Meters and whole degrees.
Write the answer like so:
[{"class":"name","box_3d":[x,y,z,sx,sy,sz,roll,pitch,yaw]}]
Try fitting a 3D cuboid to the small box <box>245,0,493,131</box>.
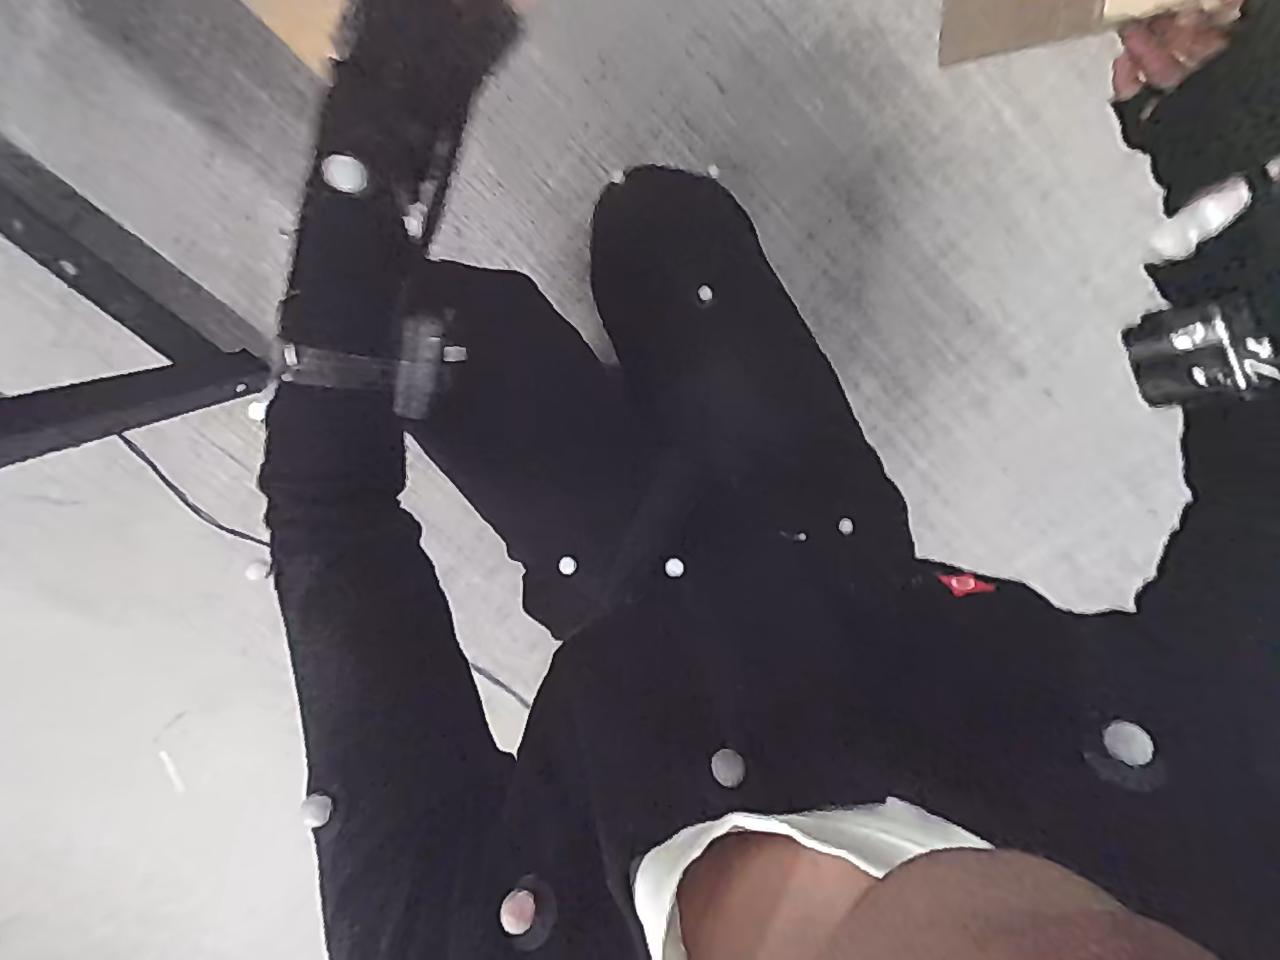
[{"class":"small box","box_3d":[-0.303,-0.541,0.623,0.179,0.176,0.168,44,111,-9]}]
